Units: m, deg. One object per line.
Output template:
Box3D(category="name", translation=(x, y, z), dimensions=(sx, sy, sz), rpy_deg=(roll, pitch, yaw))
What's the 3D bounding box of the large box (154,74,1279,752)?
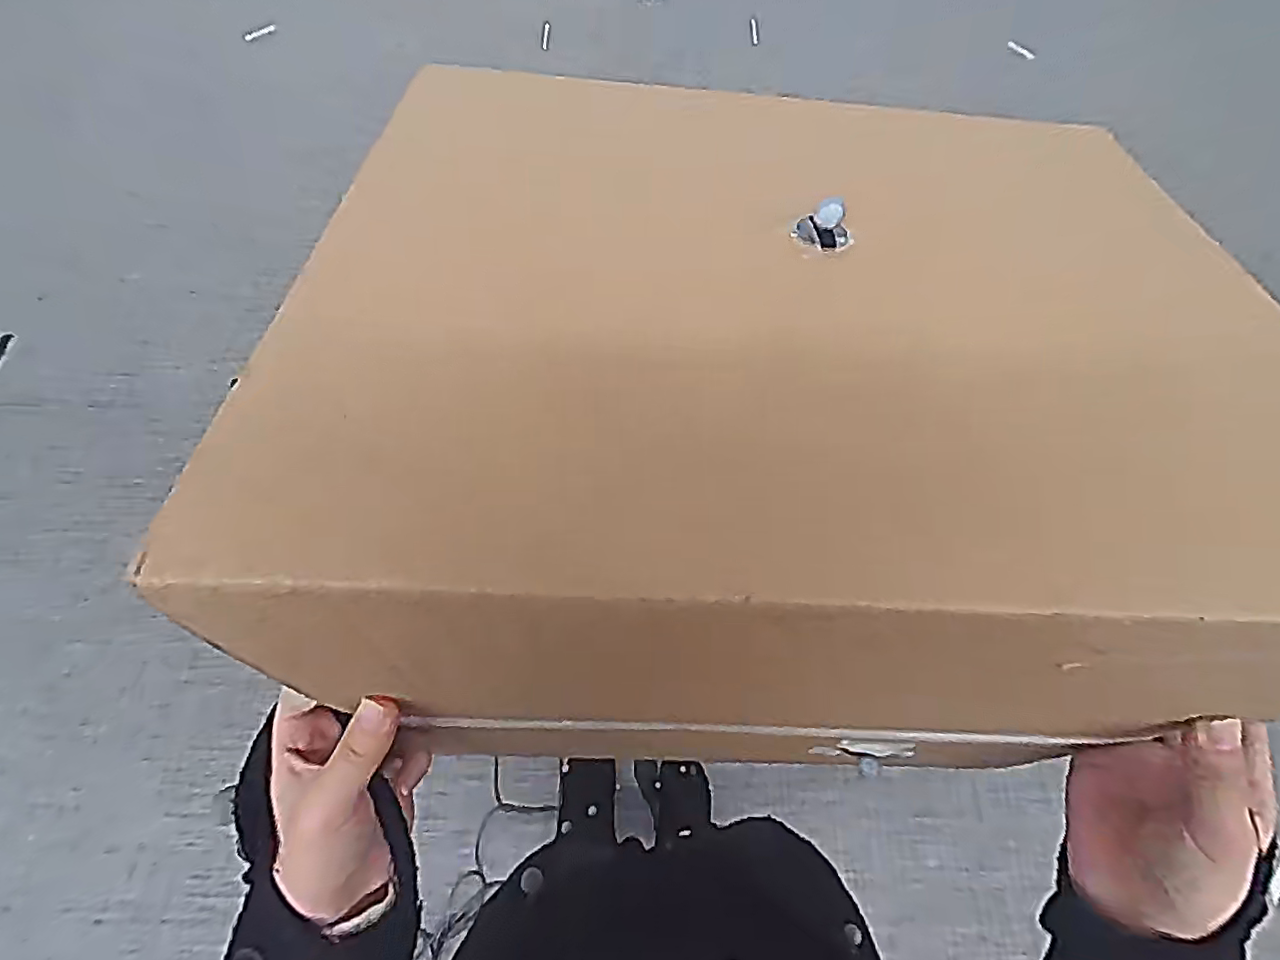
Box3D(category="large box", translation=(0.062, -0.017, 0.350), dimensions=(0.408, 0.320, 0.320), rpy_deg=(2, 57, -3))
